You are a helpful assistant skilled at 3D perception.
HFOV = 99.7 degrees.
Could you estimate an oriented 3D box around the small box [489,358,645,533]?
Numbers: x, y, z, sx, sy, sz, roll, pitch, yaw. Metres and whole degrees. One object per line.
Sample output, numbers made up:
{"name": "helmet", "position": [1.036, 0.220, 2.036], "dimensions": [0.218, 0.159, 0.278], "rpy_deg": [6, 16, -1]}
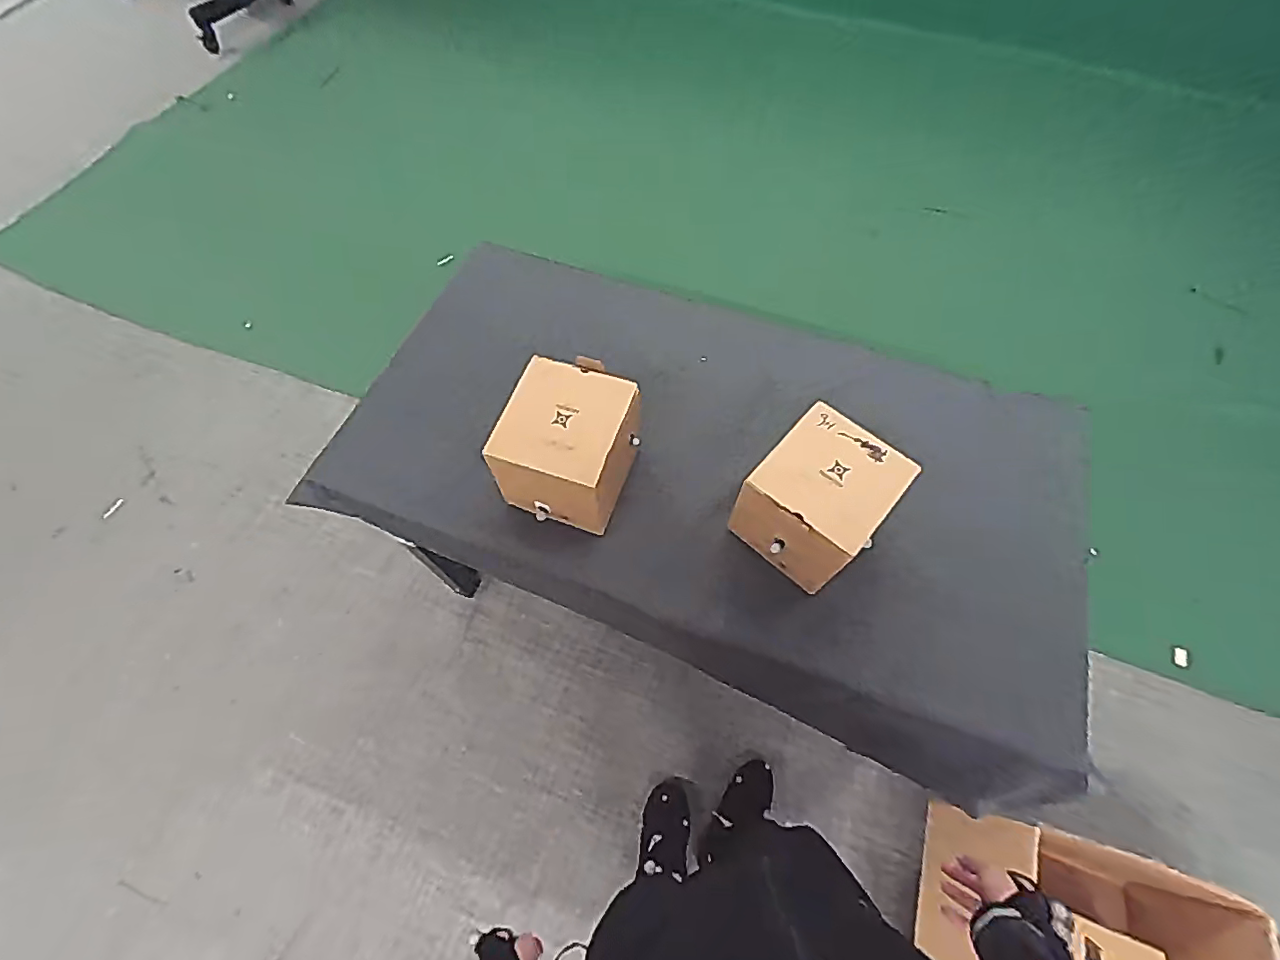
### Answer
{"name": "small box", "position": [-0.099, -0.047, 0.812], "dimensions": [0.168, 0.176, 0.179], "rpy_deg": [17, 64, 9]}

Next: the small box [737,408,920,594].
{"name": "small box", "position": [0.258, 0.037, 0.785], "dimensions": [0.168, 0.176, 0.179], "rpy_deg": [39, 69, 19]}
